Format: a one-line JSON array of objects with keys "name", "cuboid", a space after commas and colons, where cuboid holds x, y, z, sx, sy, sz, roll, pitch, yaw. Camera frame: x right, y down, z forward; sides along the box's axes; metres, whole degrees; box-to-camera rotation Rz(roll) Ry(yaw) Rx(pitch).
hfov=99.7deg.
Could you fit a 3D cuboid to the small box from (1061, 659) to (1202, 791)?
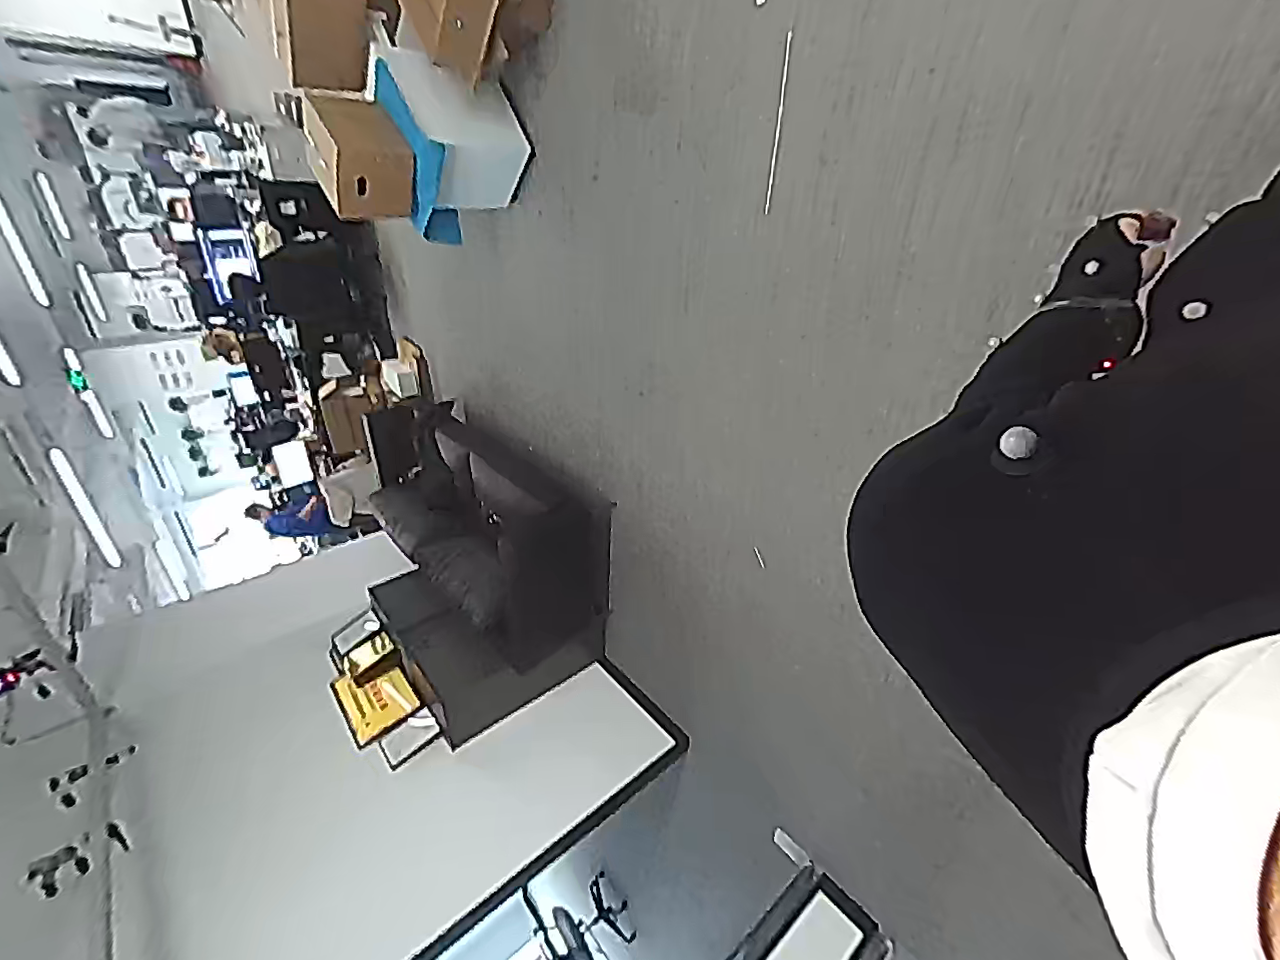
[{"name": "small box", "cuboid": [1.104, 0.538, 1.214, 0.179, 0.176, 0.168, 31, 129, 43]}]
